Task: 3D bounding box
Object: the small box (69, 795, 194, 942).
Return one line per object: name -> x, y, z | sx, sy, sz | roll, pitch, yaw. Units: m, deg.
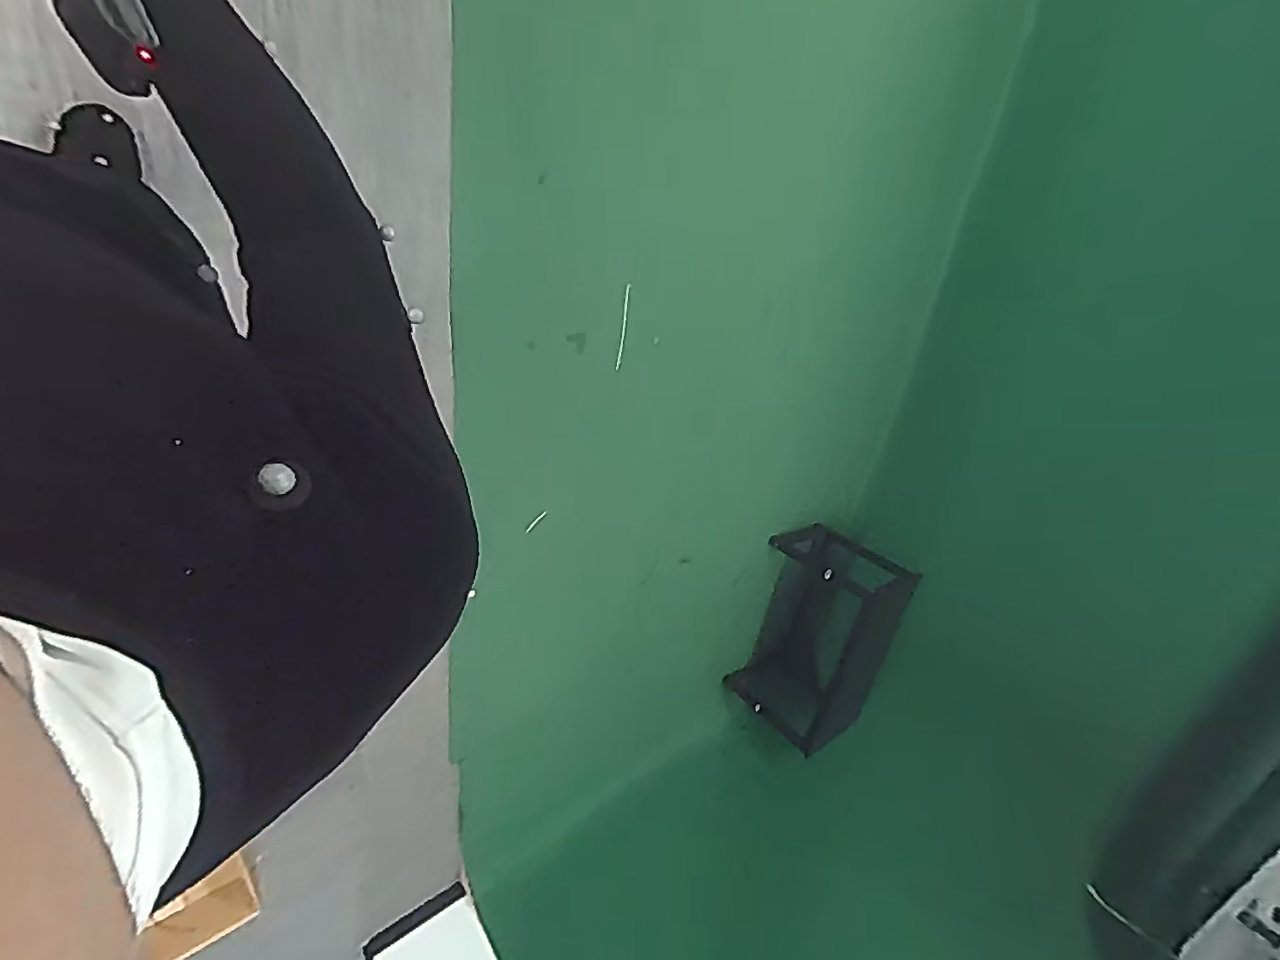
small box -> -1.106, 0.831, 1.180 | 0.168, 0.176, 0.179 | -15, 126, -38
